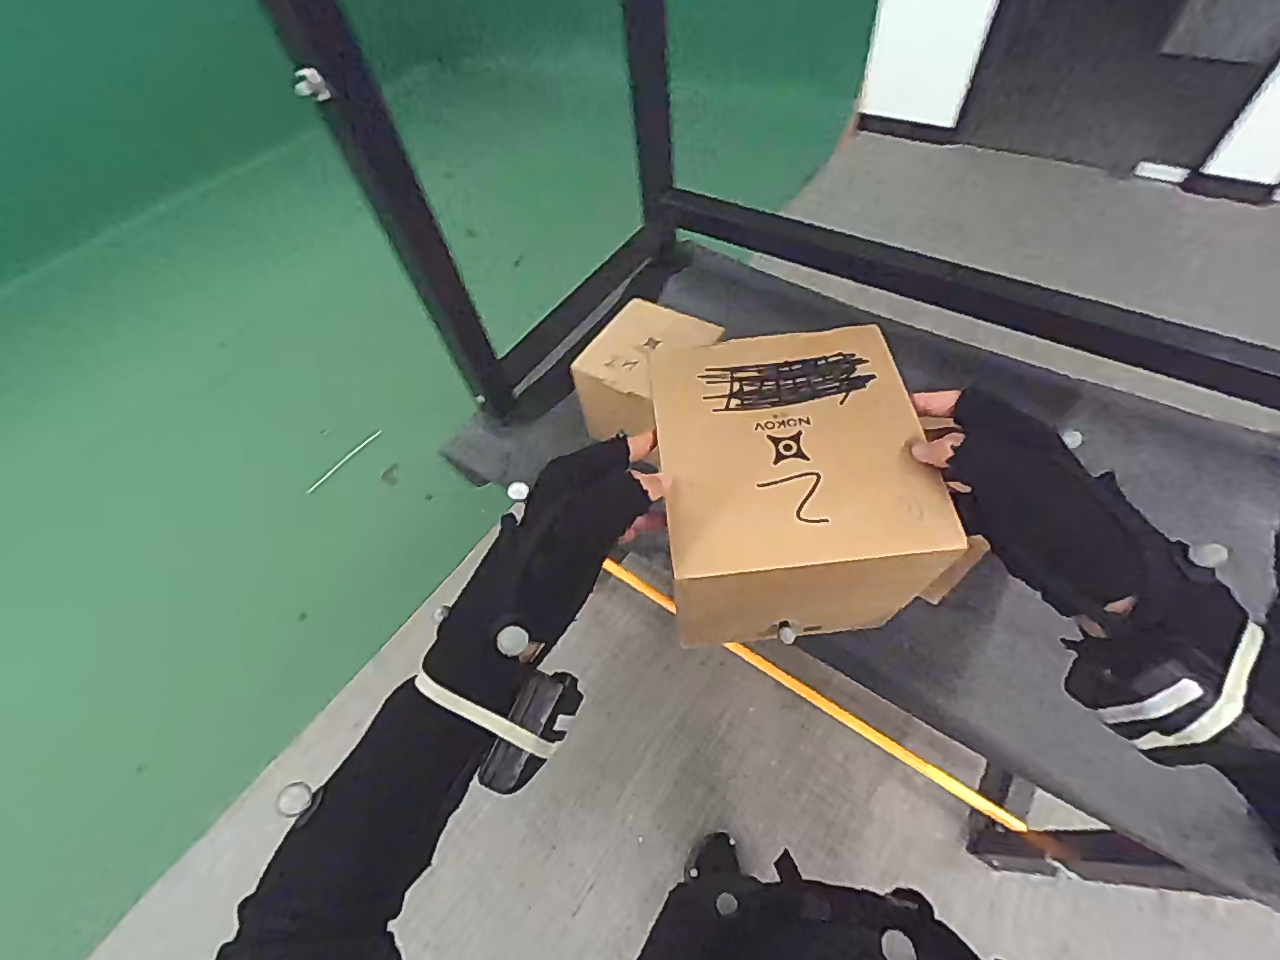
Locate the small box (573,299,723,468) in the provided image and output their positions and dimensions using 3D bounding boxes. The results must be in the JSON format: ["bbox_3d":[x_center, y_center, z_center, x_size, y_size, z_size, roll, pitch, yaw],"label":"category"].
[{"bbox_3d":[0.018,-0.153,0.870,0.168,0.176,0.179,26,63,22],"label":"small box"}]
